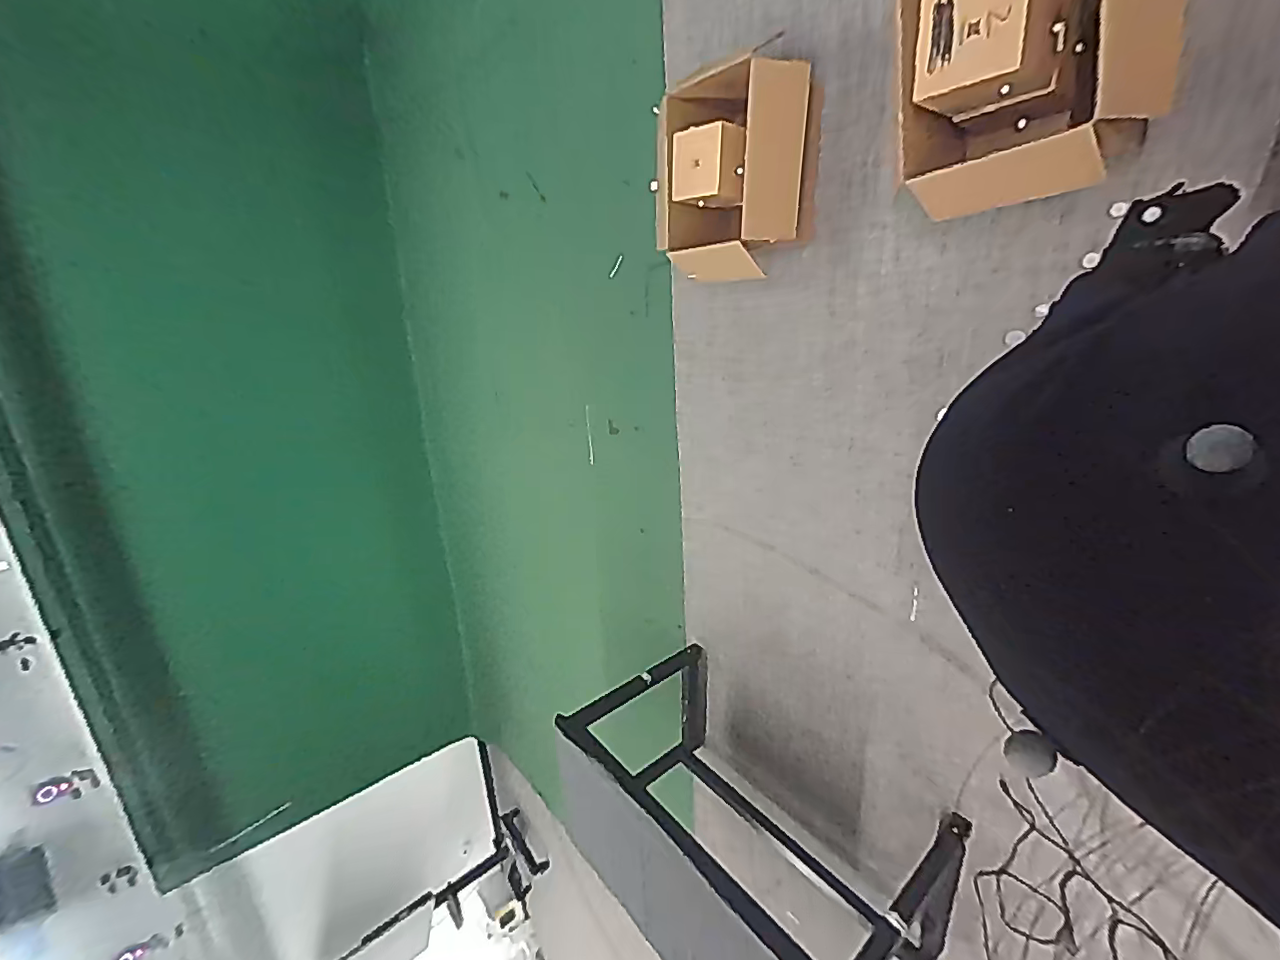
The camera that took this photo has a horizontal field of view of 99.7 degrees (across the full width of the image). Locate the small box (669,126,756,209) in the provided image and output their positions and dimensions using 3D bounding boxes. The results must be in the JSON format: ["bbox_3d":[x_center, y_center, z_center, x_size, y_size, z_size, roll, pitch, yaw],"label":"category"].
[{"bbox_3d":[0.200,-0.849,1.484,0.179,0.176,0.168,20,117,45],"label":"small box"}]
